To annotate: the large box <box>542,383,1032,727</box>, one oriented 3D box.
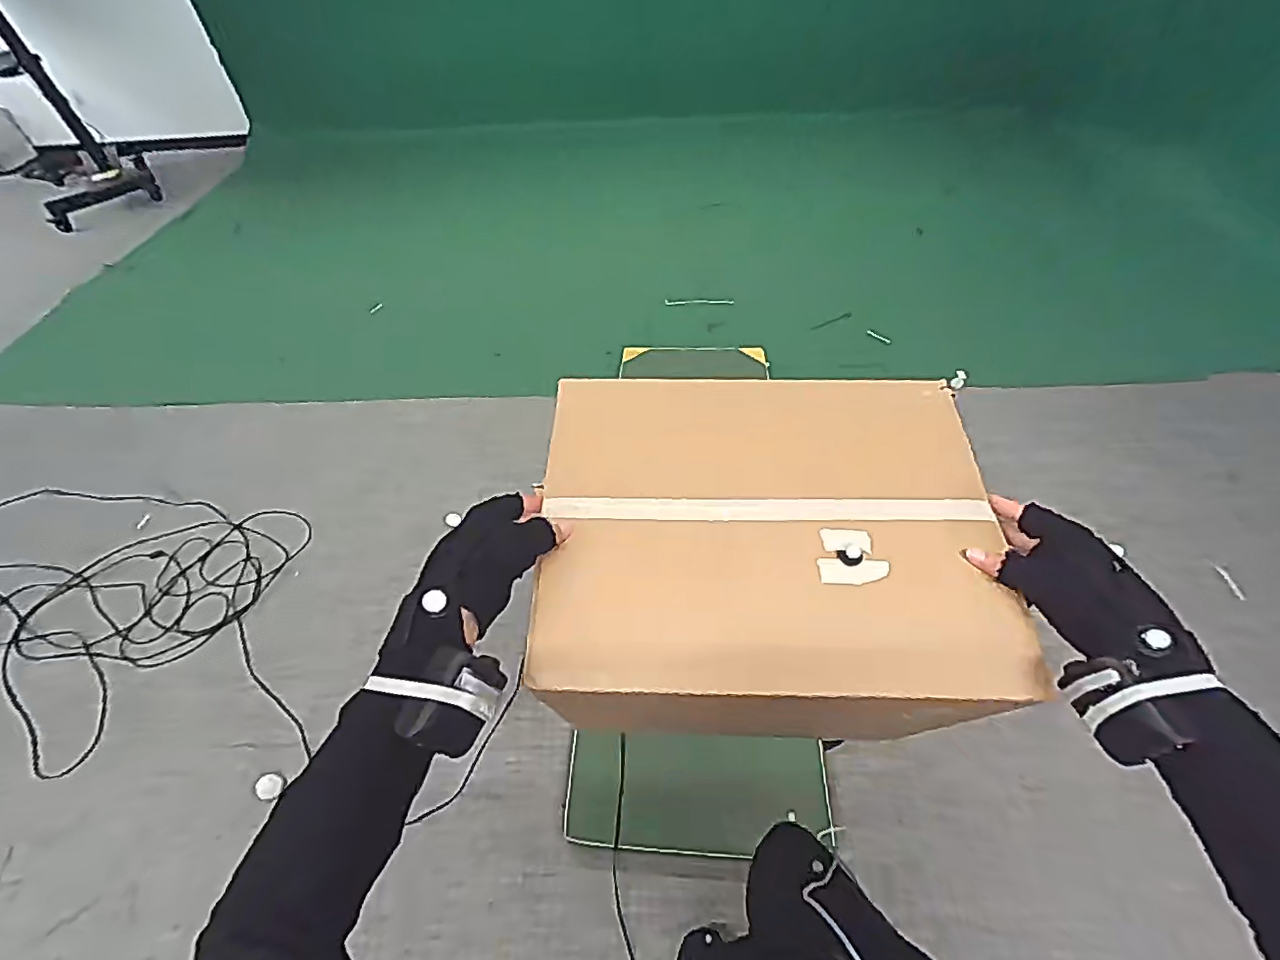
[{"bbox_3d":[0.117,0.103,0.635,0.408,0.320,0.320,1,60,1],"label":"large box"}]
